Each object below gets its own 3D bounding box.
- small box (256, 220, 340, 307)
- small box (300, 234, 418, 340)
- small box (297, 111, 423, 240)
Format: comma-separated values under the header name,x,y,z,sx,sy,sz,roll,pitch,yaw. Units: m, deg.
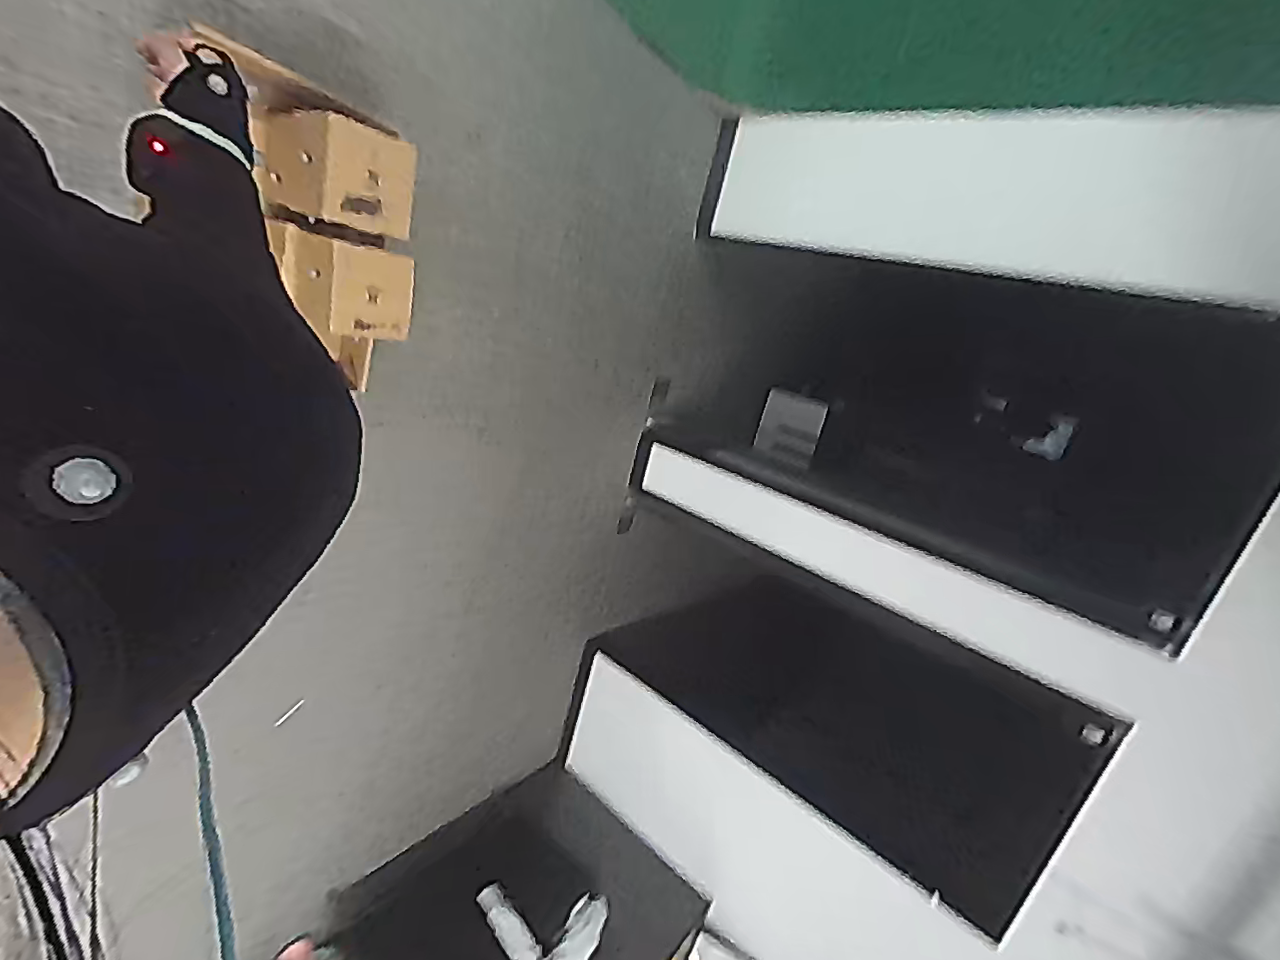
name,x,y,z,sx,sy,sz,roll,pitch,yaw
small box,-0.725,-0.471,1.215,0.179,0.176,0.168,-2,111,-52
small box,-0.594,-0.406,1.139,0.168,0.176,0.179,-8,116,-51
small box,-0.555,-0.595,1.065,0.168,0.176,0.179,-7,117,-50
